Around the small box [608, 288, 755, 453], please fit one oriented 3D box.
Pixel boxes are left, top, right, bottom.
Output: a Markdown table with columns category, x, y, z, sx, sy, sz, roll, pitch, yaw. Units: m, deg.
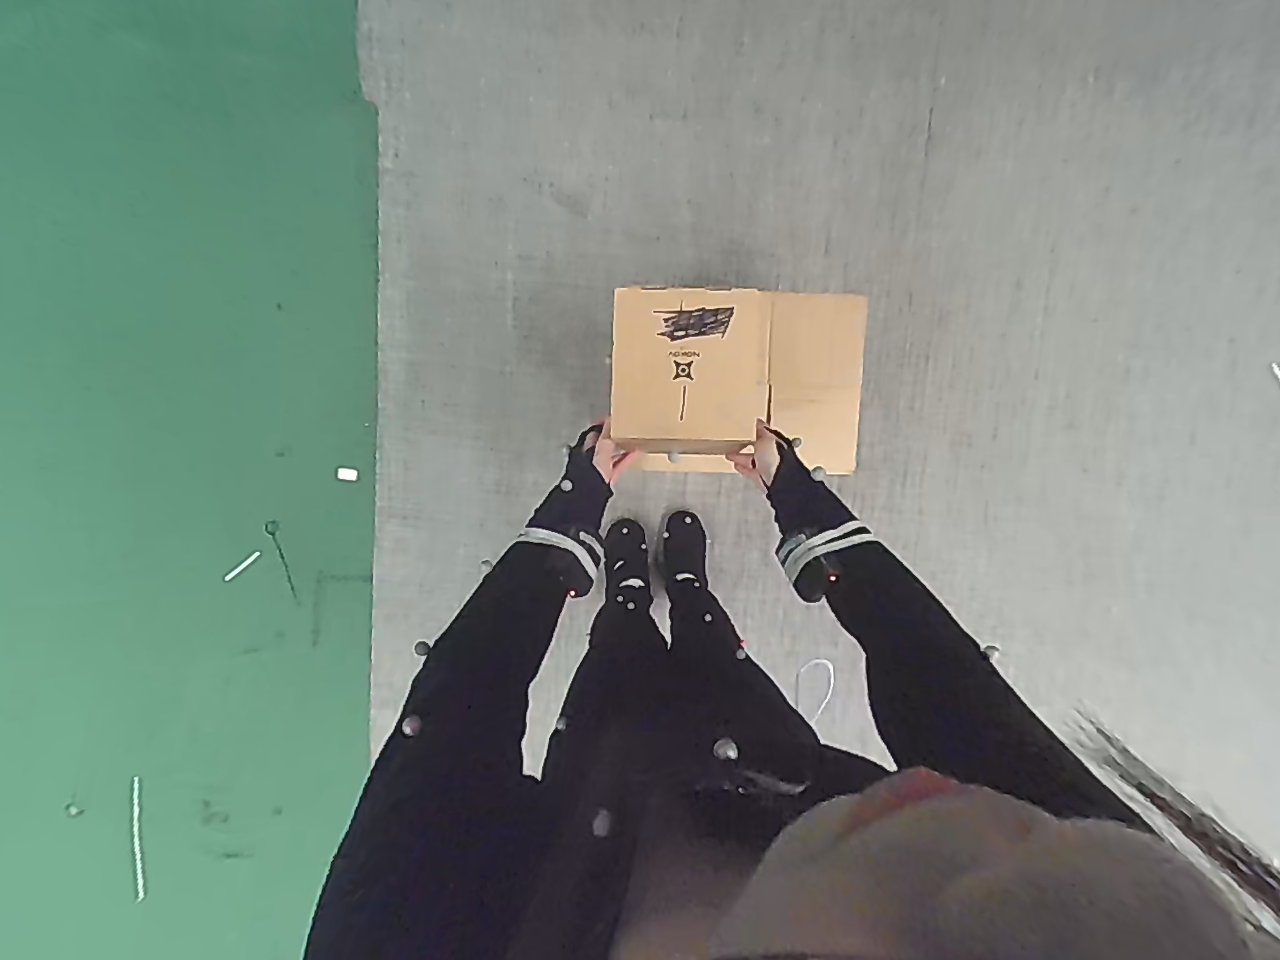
| category | x | y | z | sx | sy | sz | roll | pitch | yaw |
| --- | --- | --- | --- | --- | --- | --- | --- | --- | --- |
| small box | 0.050 | -0.132 | 0.705 | 0.168 | 0.176 | 0.179 | 2 | 89 | 3 |
